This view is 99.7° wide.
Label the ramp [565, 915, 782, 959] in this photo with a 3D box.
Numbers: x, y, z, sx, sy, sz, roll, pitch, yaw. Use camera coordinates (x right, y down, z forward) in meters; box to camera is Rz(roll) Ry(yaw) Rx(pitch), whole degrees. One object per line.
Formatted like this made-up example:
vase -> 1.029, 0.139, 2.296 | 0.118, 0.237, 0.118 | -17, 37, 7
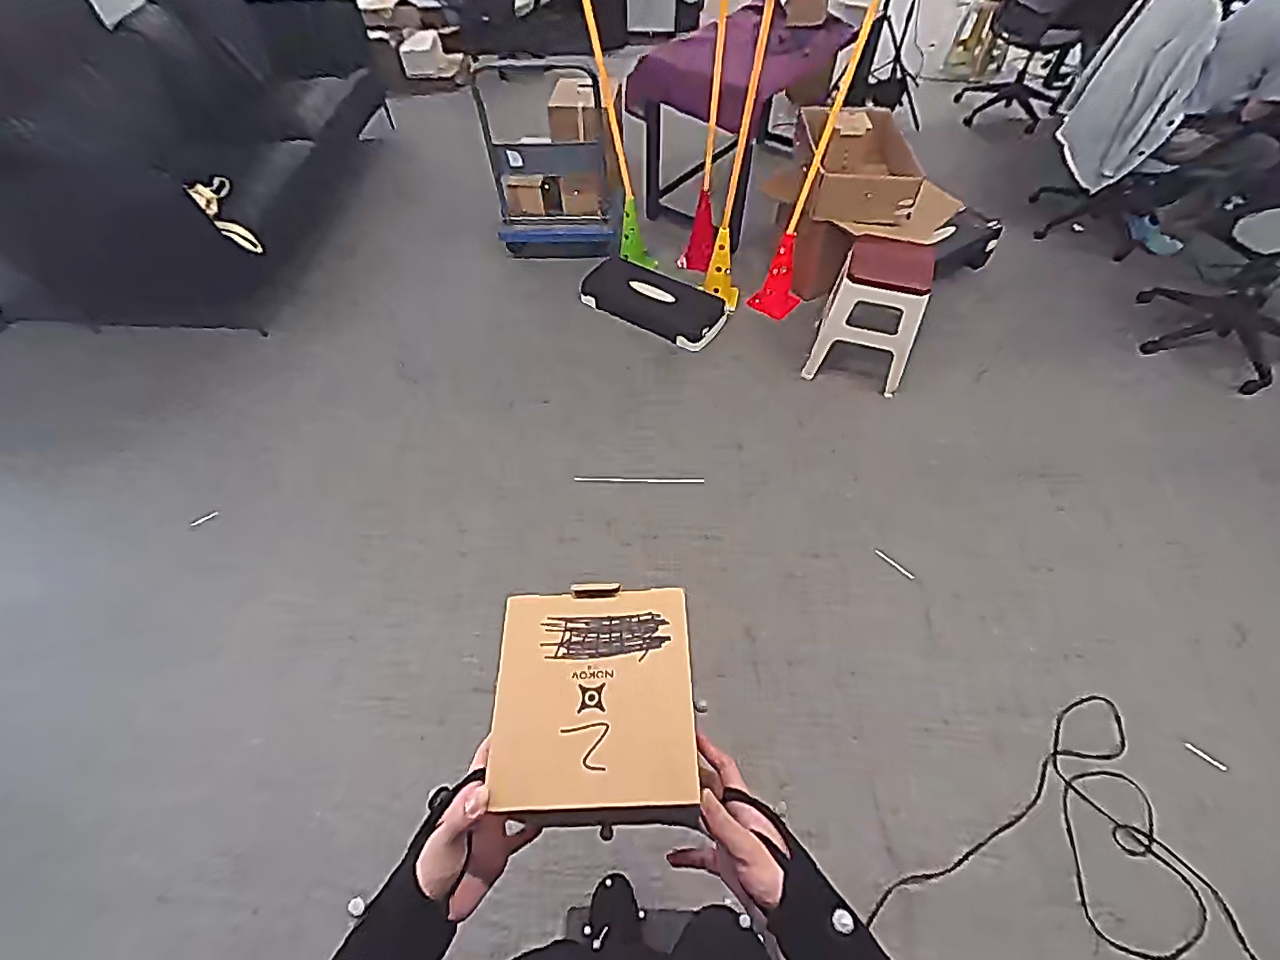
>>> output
ramp -> 0.059, 1.376, 0.910 | 0.509, 0.206, 0.991 | -1, 54, 2
